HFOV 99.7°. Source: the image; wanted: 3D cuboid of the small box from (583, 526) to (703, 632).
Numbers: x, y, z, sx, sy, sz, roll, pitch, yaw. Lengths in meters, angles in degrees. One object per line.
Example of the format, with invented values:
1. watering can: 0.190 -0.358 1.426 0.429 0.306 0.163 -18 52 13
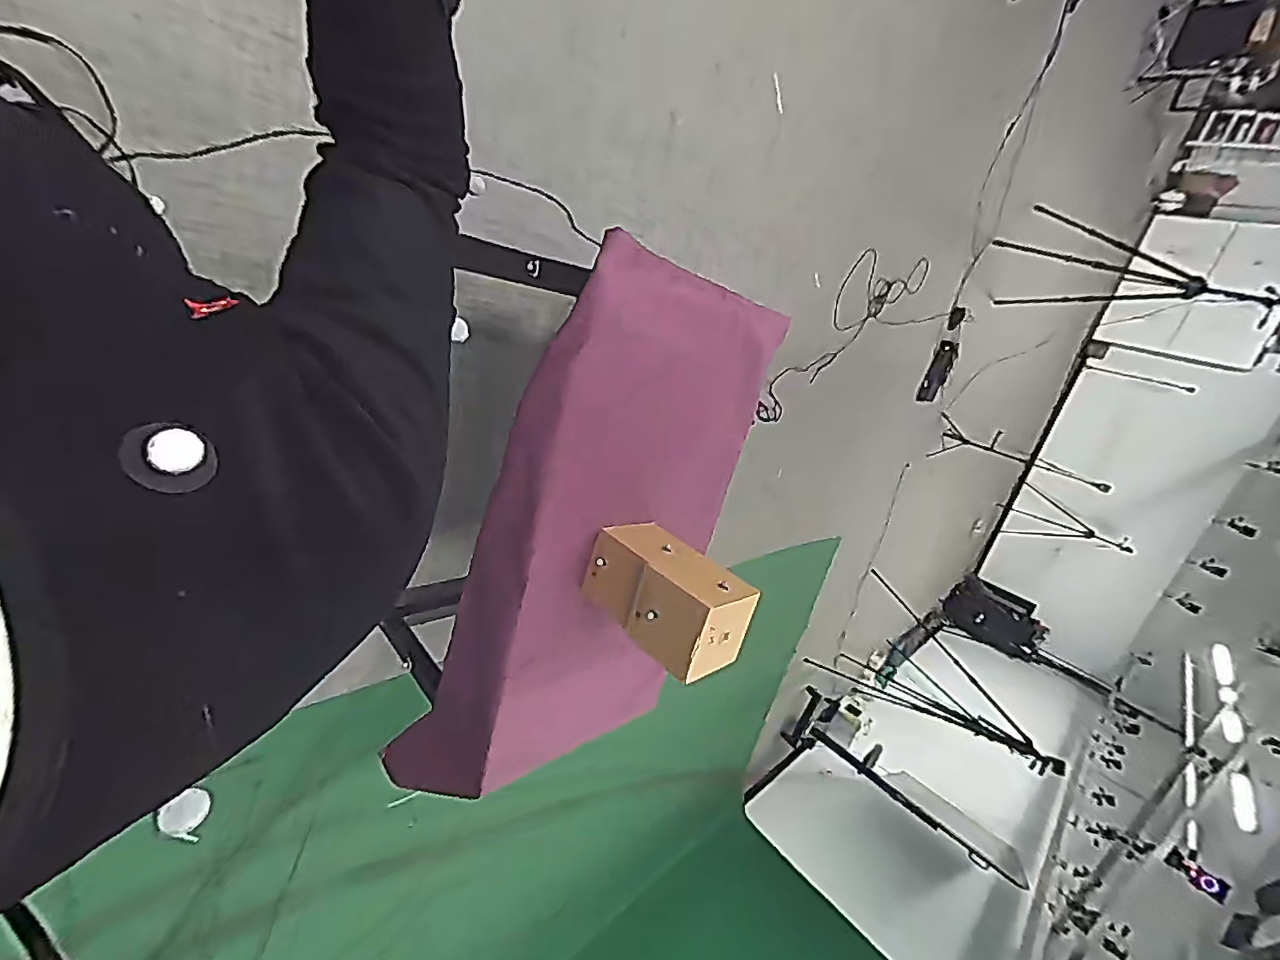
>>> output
1. small box: 0.004 0.209 1.197 0.179 0.176 0.168 1 111 -47

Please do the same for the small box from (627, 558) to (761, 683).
1. small box: 0.105 0.268 1.081 0.179 0.176 0.168 -1 112 -46
